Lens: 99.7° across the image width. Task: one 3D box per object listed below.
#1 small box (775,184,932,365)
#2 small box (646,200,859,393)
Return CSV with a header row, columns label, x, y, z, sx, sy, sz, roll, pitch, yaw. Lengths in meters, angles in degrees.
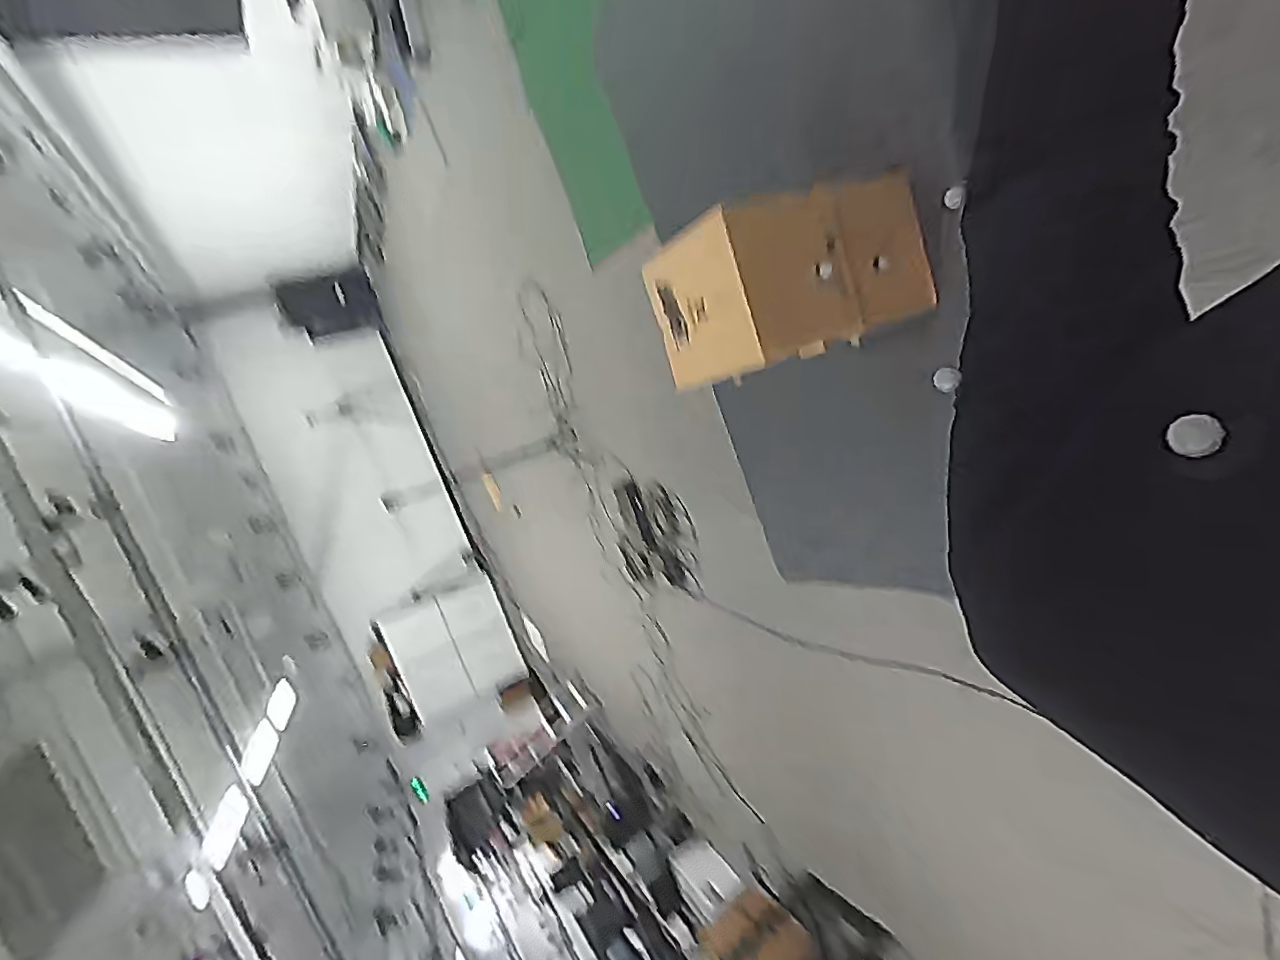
label,x,y,z,sx,sy,sz,roll,pitch,yaw
small box,0.273,-0.282,0.756,0.168,0.176,0.179,-3,108,63
small box,0.137,-0.224,0.684,0.179,0.176,0.168,-8,103,66
